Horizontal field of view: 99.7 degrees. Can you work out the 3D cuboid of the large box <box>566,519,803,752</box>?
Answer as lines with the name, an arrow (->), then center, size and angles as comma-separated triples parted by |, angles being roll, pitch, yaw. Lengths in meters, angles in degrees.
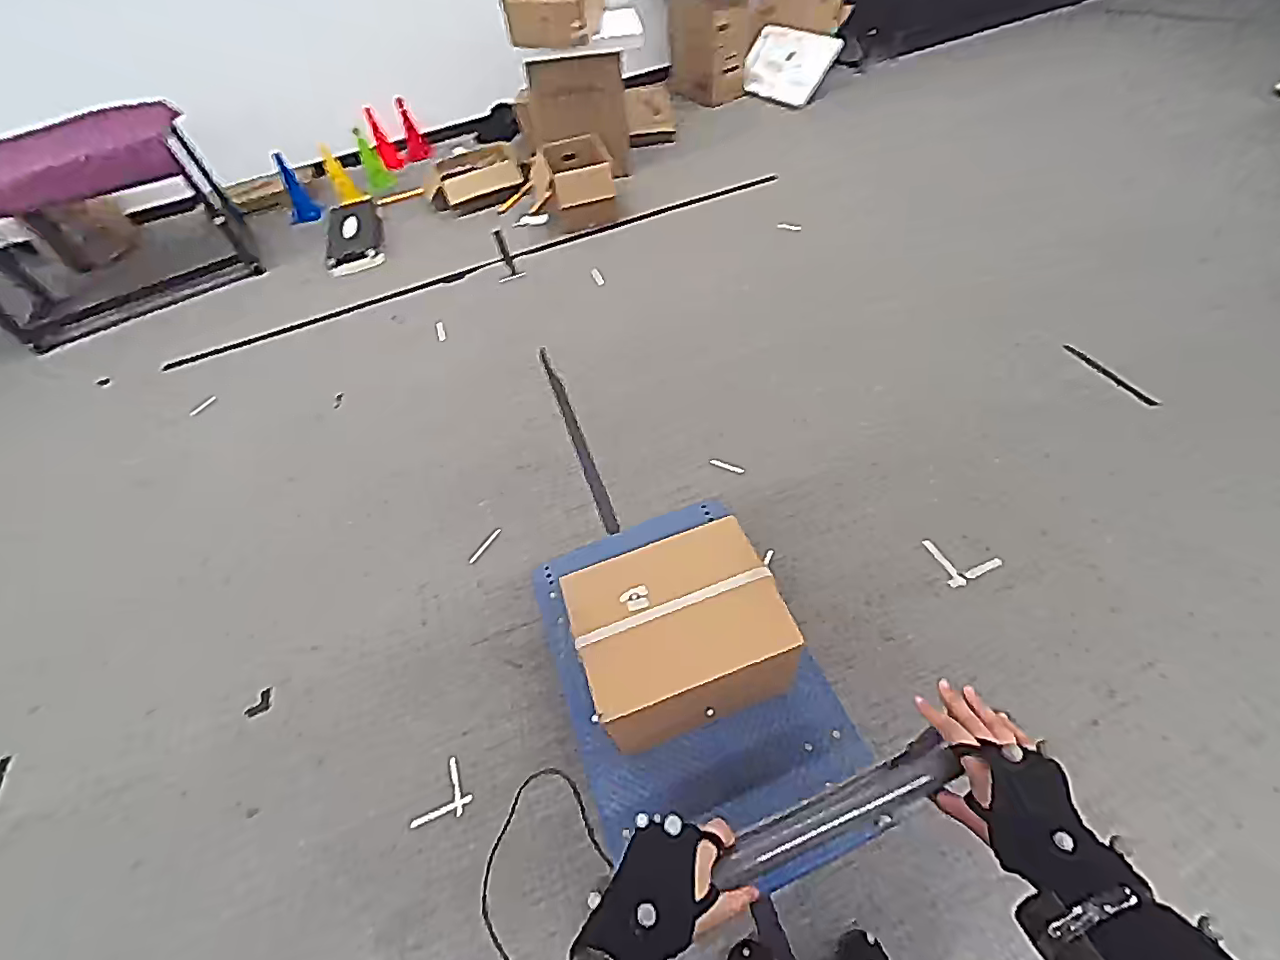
large box -> 0.095, 0.350, 1.202 | 0.408, 0.320, 0.320 | -20, 52, -6
